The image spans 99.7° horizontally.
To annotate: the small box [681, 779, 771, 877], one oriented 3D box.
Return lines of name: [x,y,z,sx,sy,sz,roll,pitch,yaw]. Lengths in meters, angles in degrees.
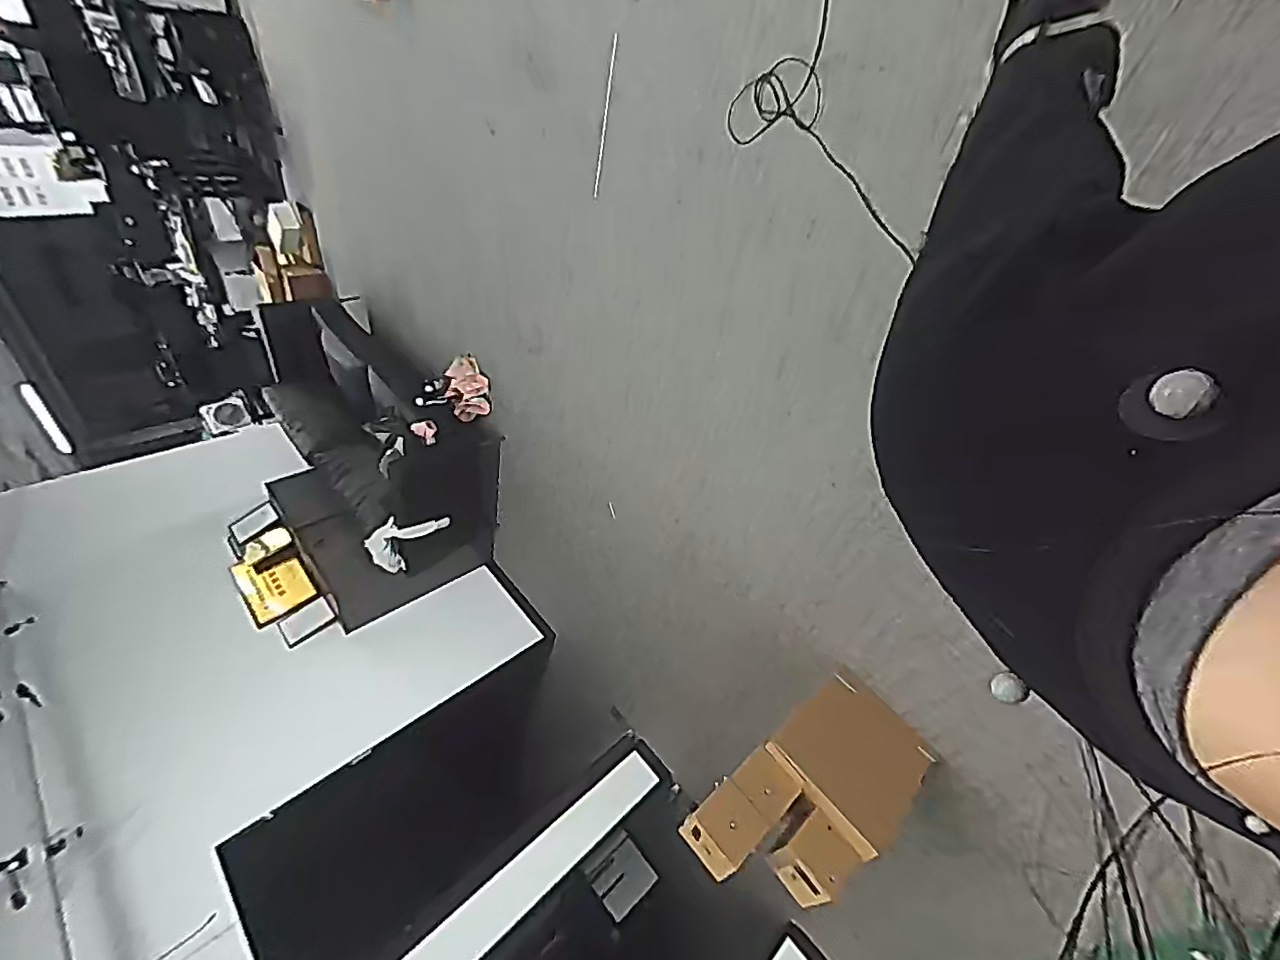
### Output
small box: [0.258,1.041,1.634,0.179,0.176,0.168,43,138,25]
